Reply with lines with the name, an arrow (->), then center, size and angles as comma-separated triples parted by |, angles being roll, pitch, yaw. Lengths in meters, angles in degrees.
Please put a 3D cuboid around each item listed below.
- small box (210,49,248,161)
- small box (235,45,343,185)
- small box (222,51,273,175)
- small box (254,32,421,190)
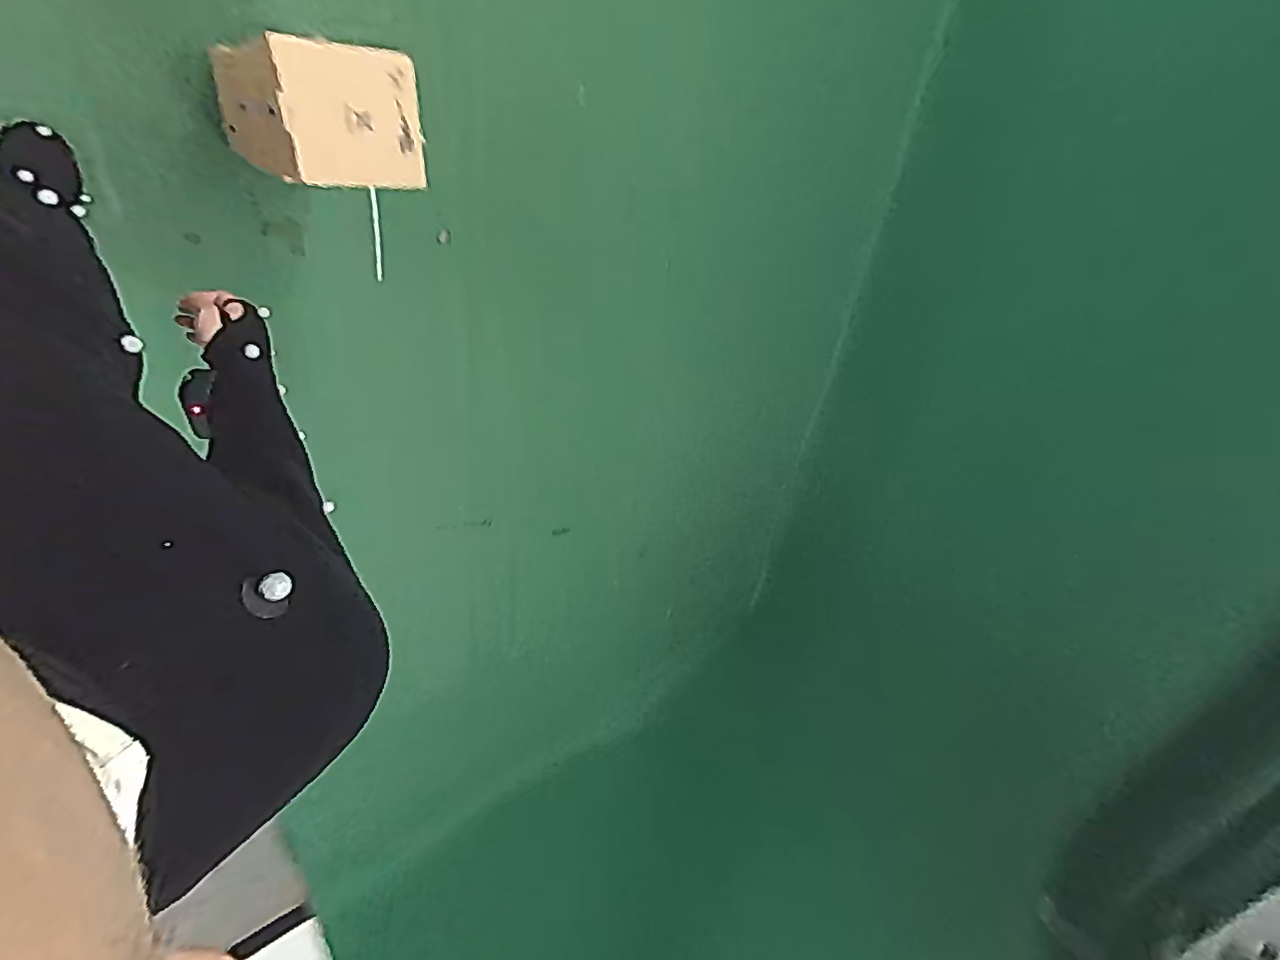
small box -> -0.755, -0.753, 1.108 | 0.168, 0.176, 0.179 | -16, 128, -37
small box -> -0.549, -0.602, 0.905 | 0.168, 0.176, 0.179 | -20, 130, -33
small box -> -0.652, -0.674, 1.010 | 0.168, 0.176, 0.179 | -19, 129, -35
small box -> -0.446, -0.533, 0.798 | 0.179, 0.176, 0.168 | -18, 128, -34
